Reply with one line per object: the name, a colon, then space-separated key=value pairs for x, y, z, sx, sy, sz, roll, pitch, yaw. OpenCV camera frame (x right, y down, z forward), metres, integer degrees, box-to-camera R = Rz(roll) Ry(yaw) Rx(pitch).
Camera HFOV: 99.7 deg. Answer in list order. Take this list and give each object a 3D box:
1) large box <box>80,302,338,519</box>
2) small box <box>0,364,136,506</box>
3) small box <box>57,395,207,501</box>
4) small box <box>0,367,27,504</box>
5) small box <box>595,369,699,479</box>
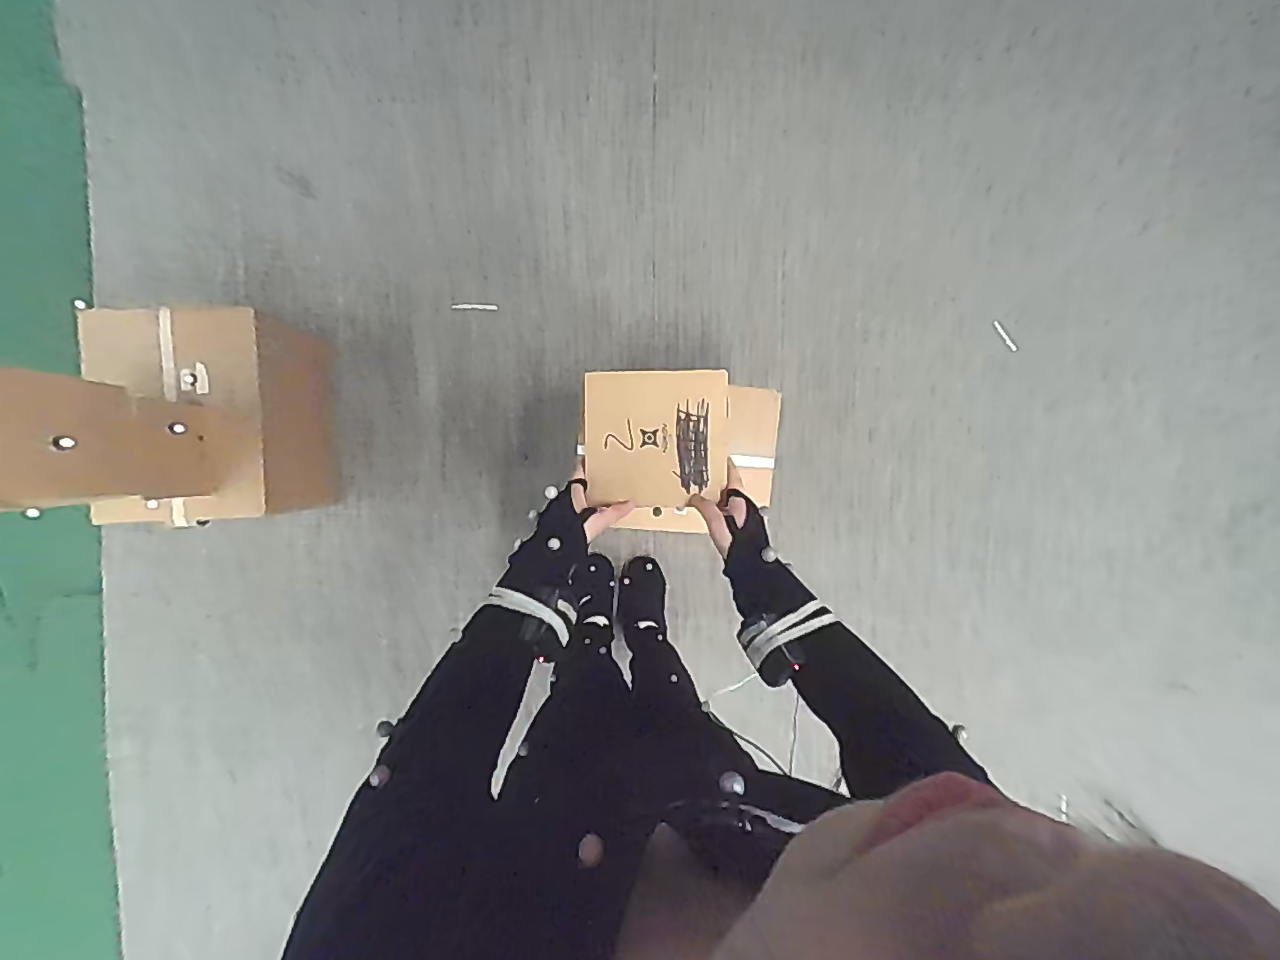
large box: x=-0.887 y=-0.134 z=1.163 sx=0.320 sy=0.320 sz=0.408 roll=-2 pitch=91 yaw=-5
small box: x=-0.865 y=-0.055 z=0.759 sx=0.168 sy=0.176 sz=0.179 roll=-7 pitch=92 yaw=-5
small box: x=-0.880 y=-0.054 z=0.922 sx=0.179 sy=0.176 sz=0.168 roll=-3 pitch=92 yaw=-4
small box: x=-0.849 y=-0.048 z=0.595 sx=0.168 sy=0.176 sz=0.179 roll=-5 pitch=93 yaw=-5
small box: x=0.007 y=-0.096 z=1.001 sx=0.168 sy=0.176 sz=0.179 roll=5 pitch=90 yaw=-6
